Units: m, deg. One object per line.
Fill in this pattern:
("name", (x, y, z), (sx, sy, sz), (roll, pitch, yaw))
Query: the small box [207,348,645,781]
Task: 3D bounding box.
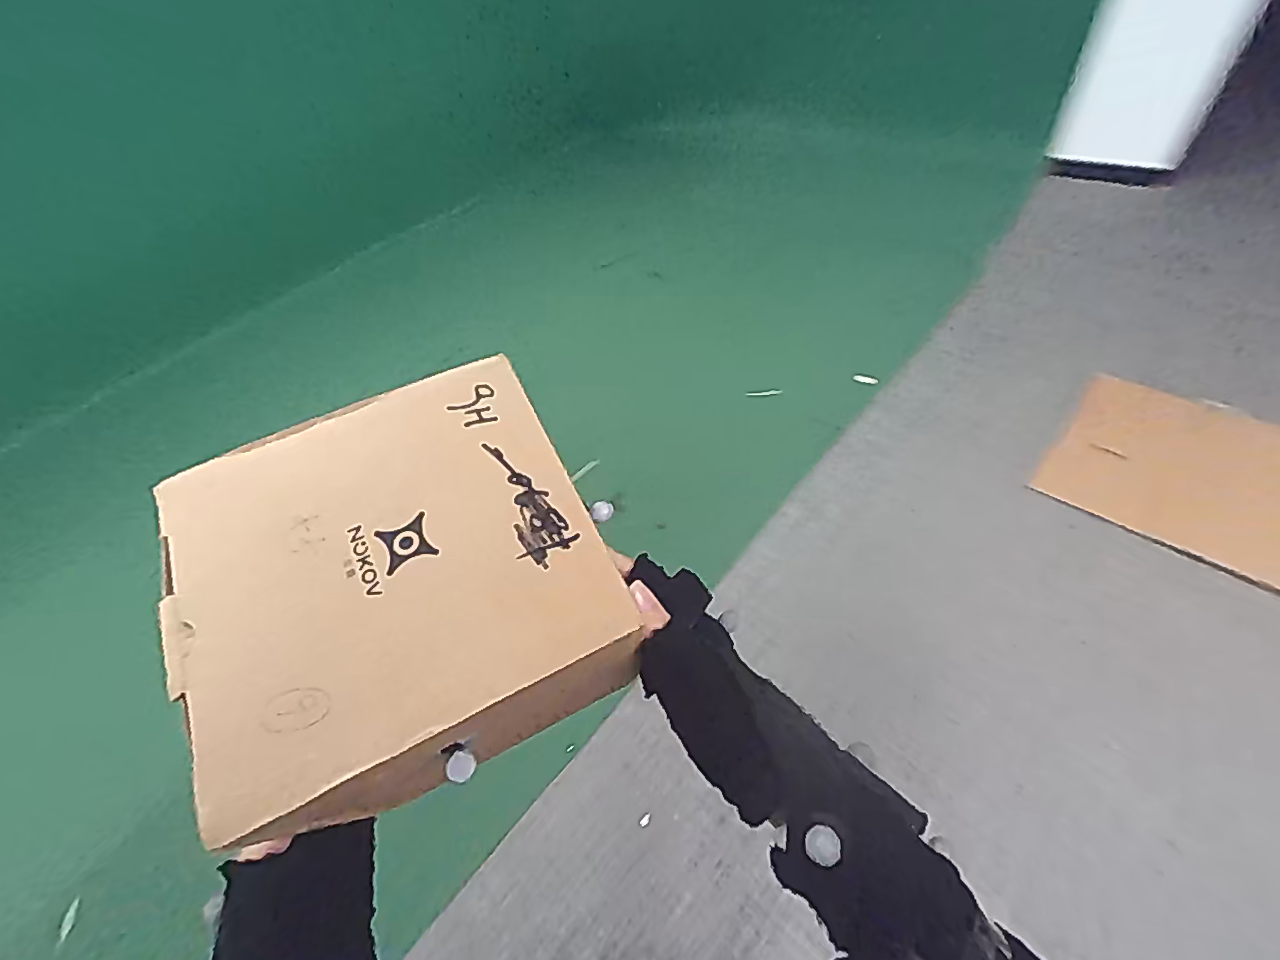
("small box", (-0.107, 0.060, 0.330), (0.179, 0.176, 0.168), (-26, 64, -13))
